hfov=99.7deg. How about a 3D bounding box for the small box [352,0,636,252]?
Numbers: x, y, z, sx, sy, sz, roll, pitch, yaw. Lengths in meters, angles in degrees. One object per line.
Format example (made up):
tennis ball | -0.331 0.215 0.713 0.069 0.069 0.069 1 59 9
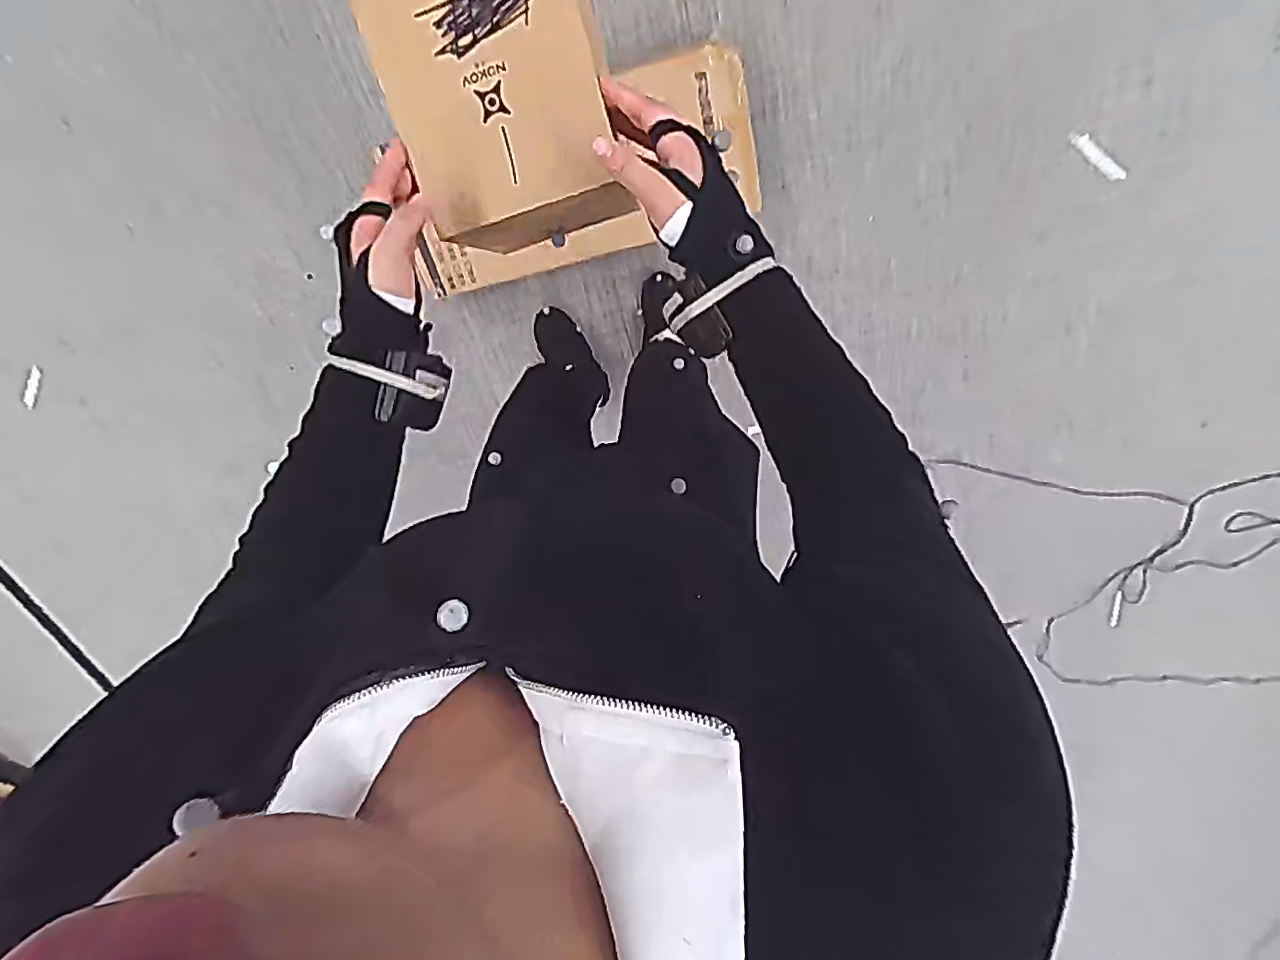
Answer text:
small box | -0.107 -0.320 0.484 0.168 0.176 0.179 -13 107 10
